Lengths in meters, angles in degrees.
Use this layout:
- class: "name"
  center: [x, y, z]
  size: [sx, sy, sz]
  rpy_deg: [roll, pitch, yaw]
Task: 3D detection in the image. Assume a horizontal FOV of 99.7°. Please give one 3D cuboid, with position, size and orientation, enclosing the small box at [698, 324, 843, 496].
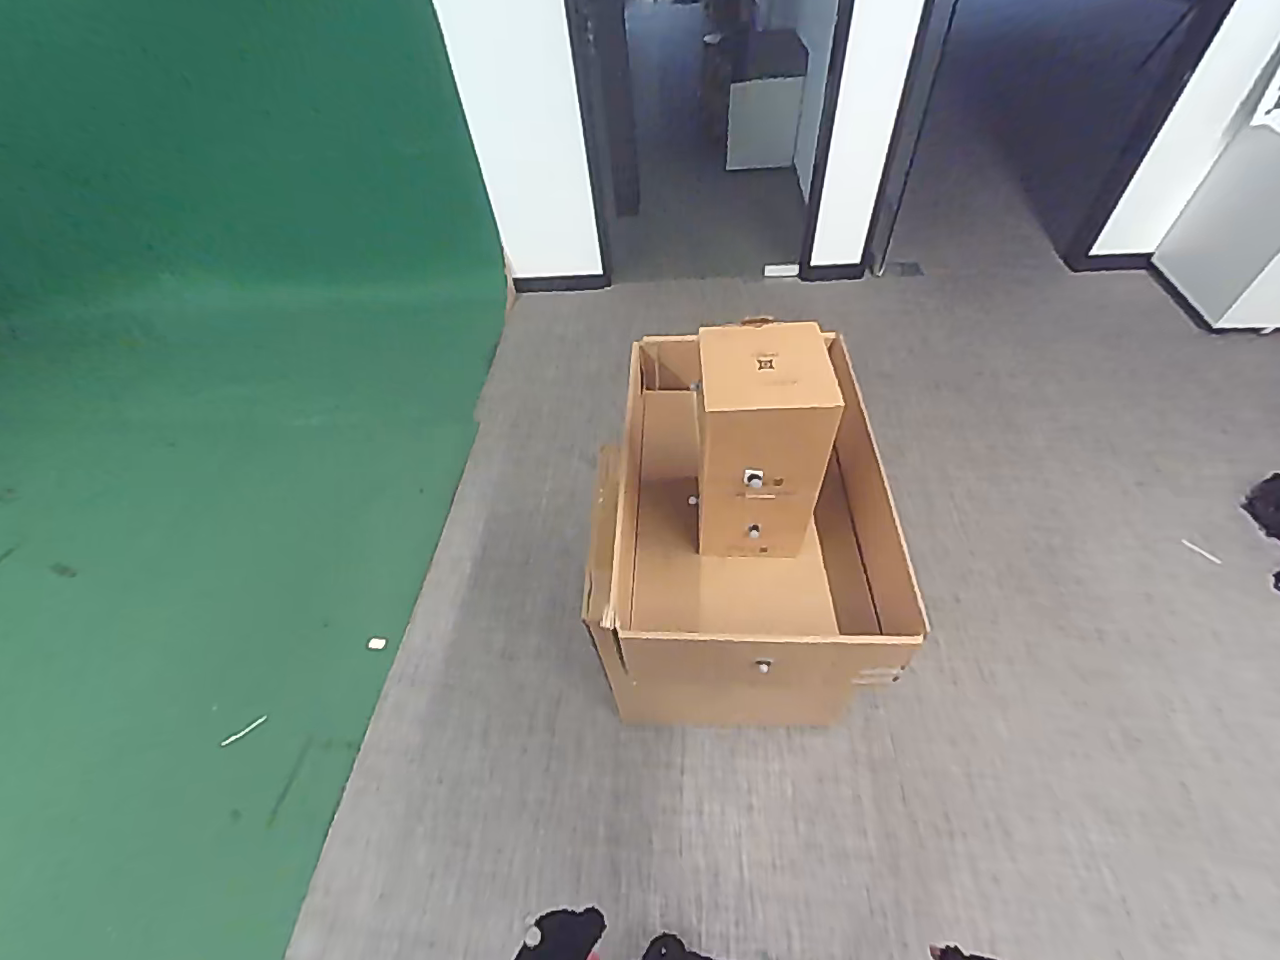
- class: "small box"
  center: [0.168, -0.097, 0.761]
  size: [0.168, 0.176, 0.179]
  rpy_deg: [-2, 50, 4]
